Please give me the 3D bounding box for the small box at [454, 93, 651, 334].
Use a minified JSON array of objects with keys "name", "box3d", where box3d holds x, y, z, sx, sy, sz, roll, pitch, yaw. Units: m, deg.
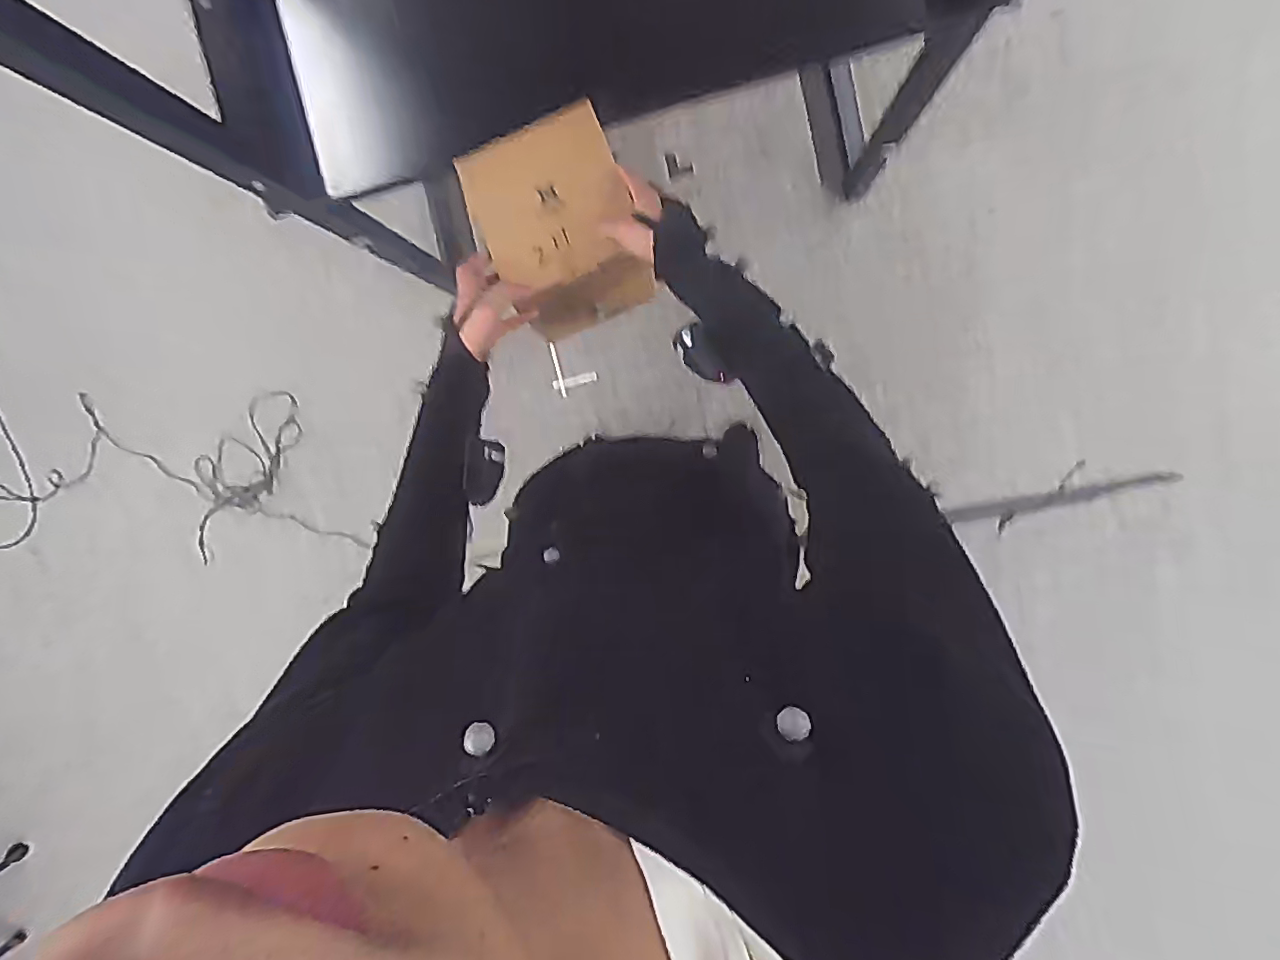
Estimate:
[{"name":"small box","box3d":[-0.094,-0.306,0.660,0.168,0.176,0.179,-22,88,4]}]
